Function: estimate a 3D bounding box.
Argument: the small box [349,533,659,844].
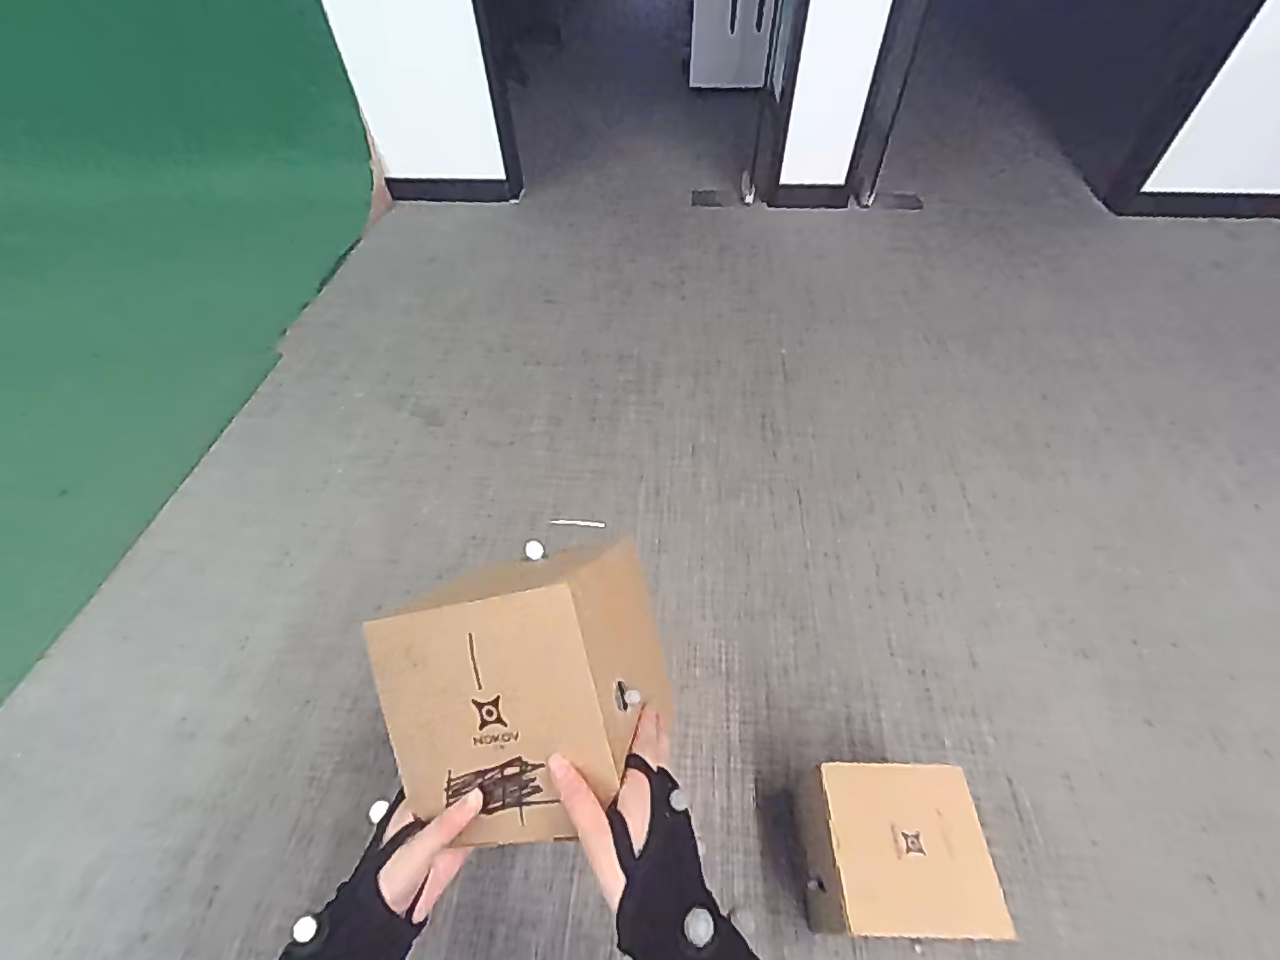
[{"bbox_3d":[-0.092,0.157,0.447,0.168,0.176,0.179,-13,93,15],"label":"small box"}]

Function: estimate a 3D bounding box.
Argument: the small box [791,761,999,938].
[{"bbox_3d":[0.296,0.465,0.680,0.179,0.176,0.168,1,51,2],"label":"small box"}]
